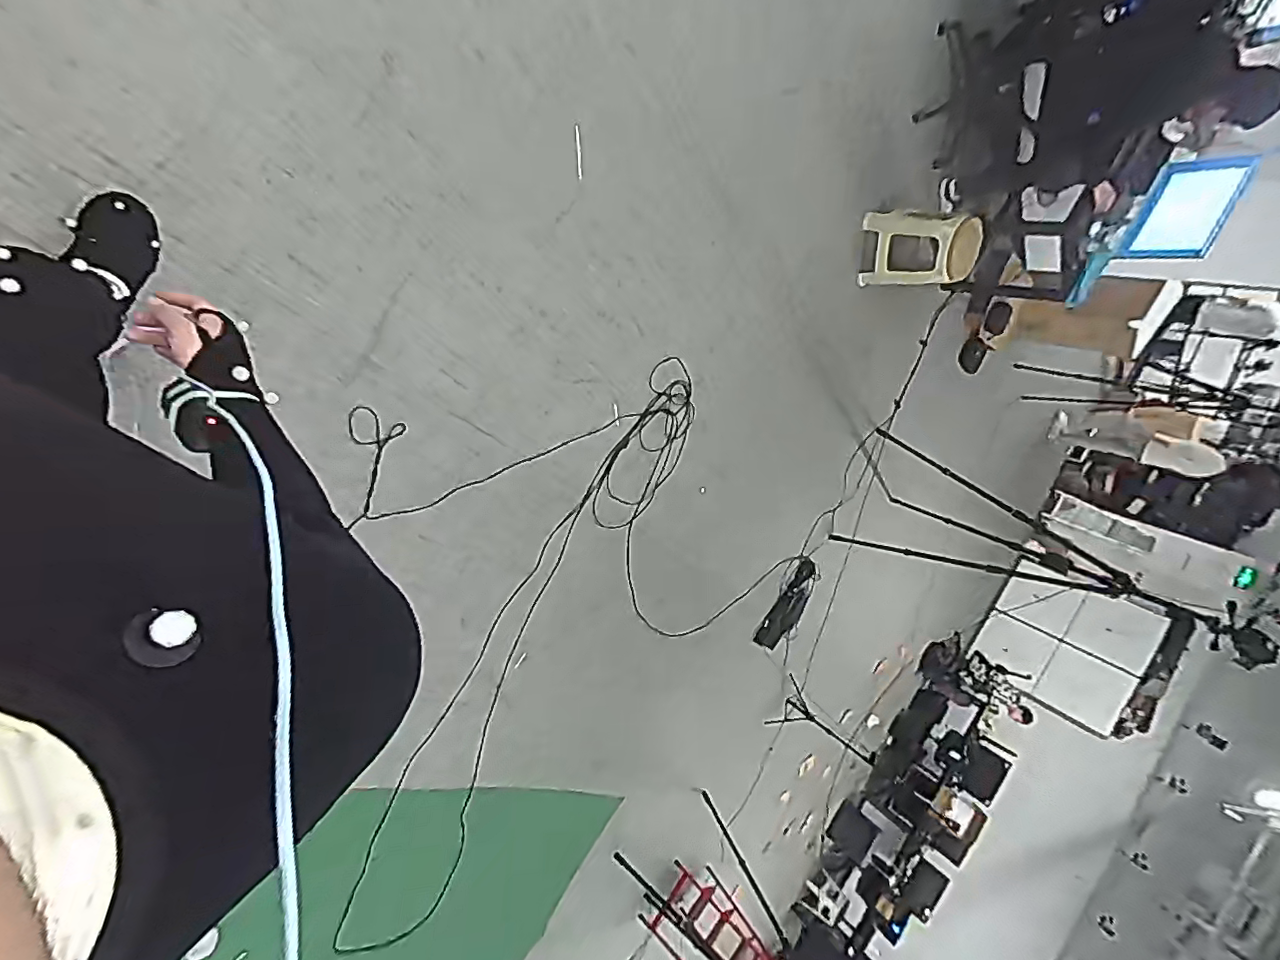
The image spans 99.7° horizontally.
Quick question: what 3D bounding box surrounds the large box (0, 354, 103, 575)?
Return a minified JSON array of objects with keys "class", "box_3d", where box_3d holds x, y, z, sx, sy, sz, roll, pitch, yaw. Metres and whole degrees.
[{"class":"large box","box_3d":[-1.262,-0.081,0.923,0.408,0.320,0.320,34,86,-45]}]
